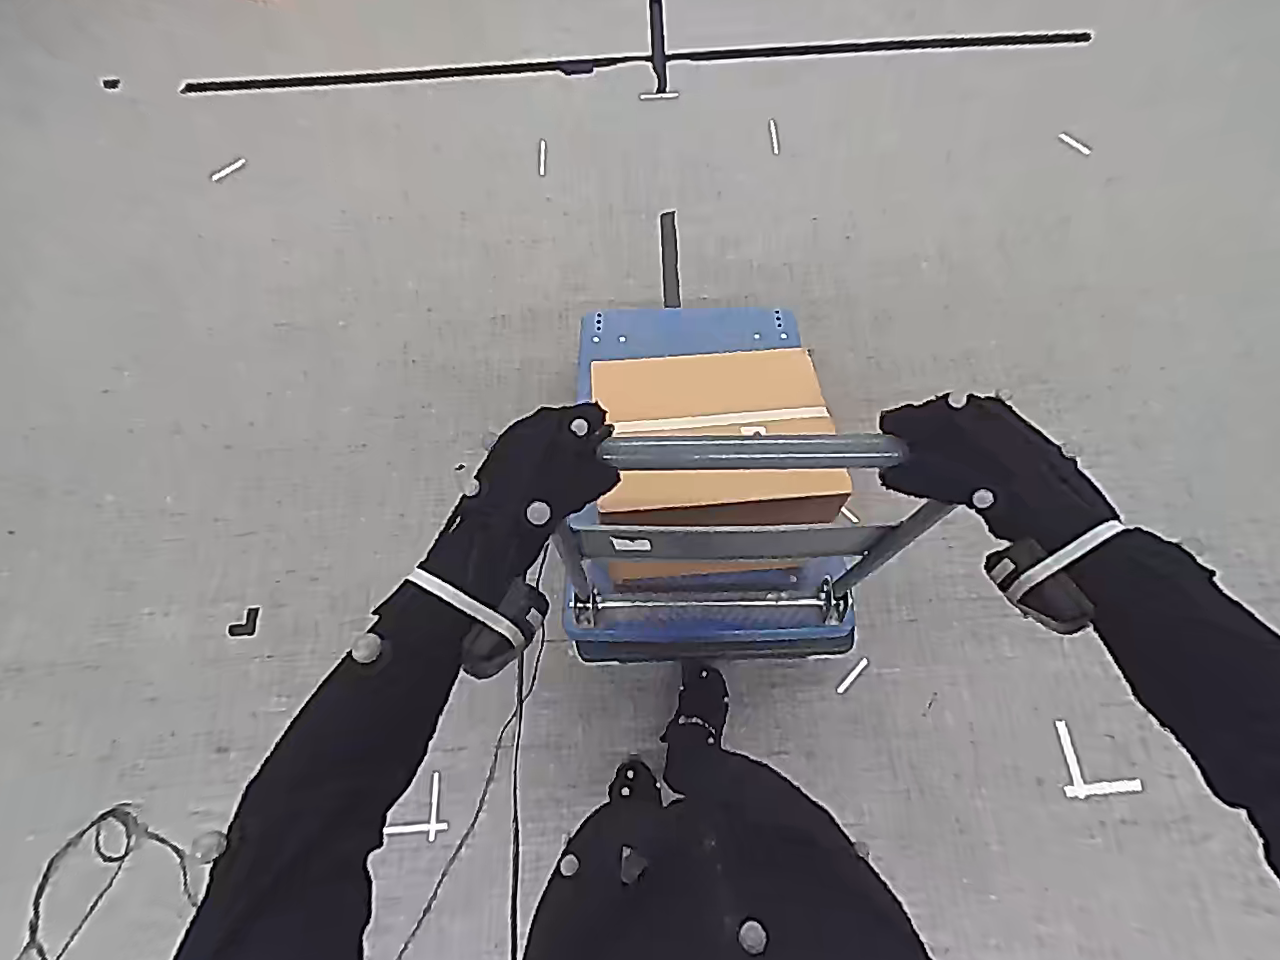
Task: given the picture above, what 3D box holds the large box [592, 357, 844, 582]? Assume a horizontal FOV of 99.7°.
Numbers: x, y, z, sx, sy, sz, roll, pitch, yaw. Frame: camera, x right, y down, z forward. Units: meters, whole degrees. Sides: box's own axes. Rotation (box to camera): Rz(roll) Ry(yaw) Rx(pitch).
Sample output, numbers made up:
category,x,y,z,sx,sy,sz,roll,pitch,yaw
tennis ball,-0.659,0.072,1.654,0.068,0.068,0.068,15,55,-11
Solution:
category,x,y,z,sx,sy,sz,roll,pitch,yaw
large box,0.120,-0.011,1.068,0.408,0.320,0.320,-4,60,-3
